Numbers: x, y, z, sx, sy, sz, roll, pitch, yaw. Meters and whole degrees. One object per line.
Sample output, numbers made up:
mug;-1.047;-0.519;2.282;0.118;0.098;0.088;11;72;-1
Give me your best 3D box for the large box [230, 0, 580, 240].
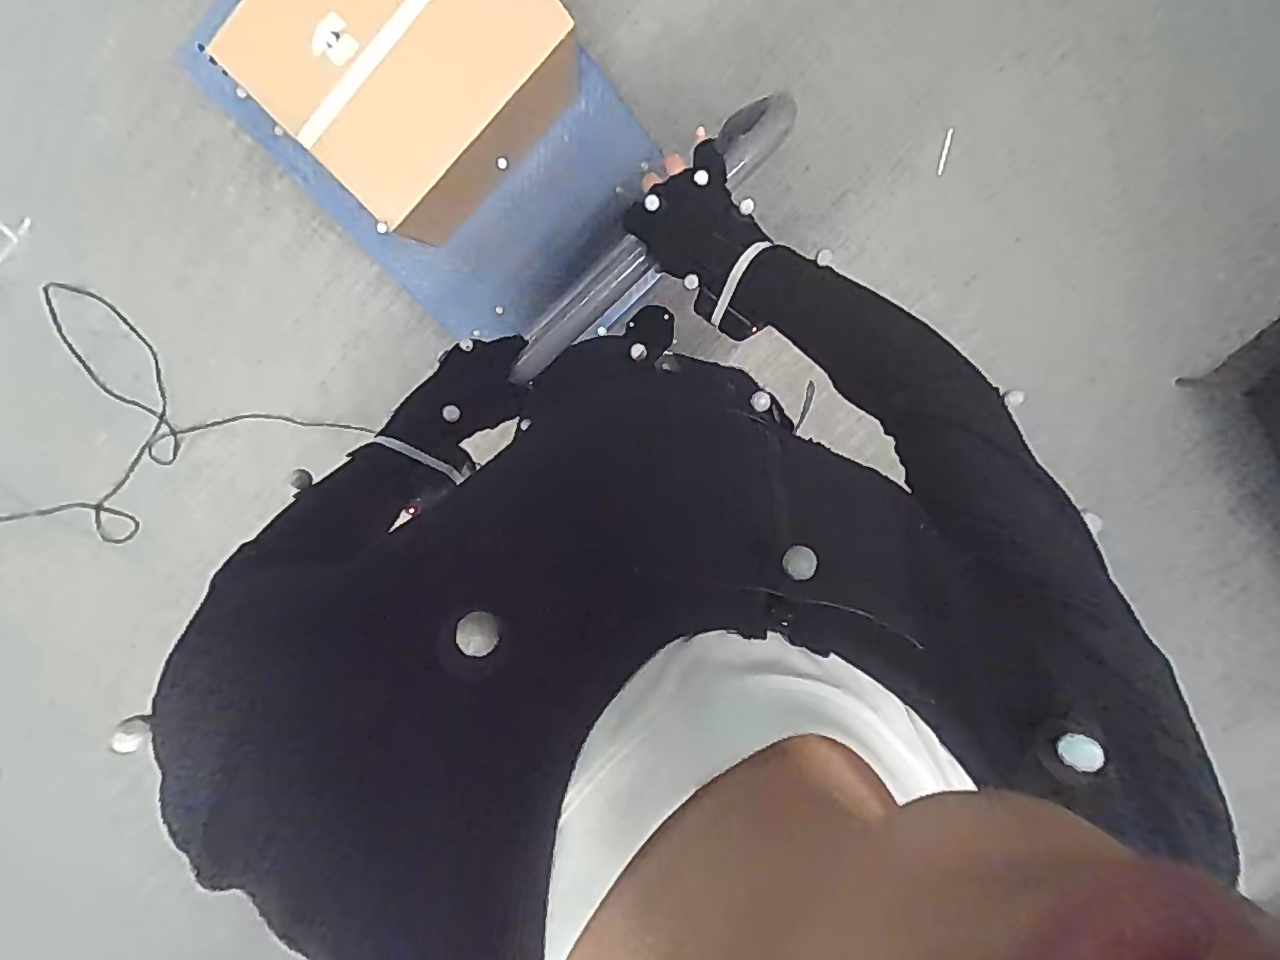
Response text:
large box;-0.343;-0.675;0.902;0.408;0.320;0.320;-43;107;10
